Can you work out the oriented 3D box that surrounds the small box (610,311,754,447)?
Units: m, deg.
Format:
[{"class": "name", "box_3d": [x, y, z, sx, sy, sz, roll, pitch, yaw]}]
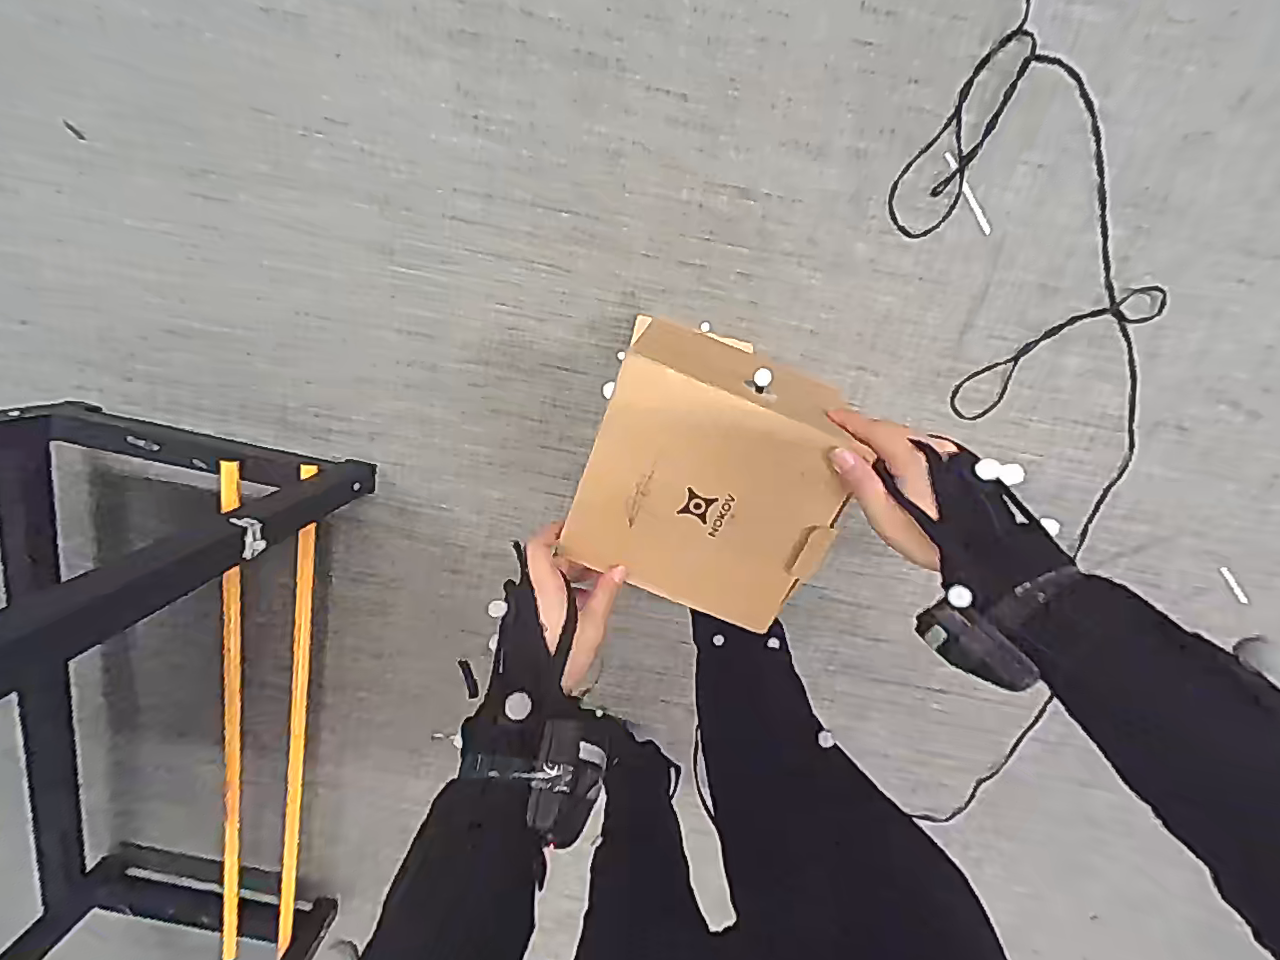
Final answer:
[{"class": "small box", "box_3d": [0.061, -0.167, 0.861, 0.179, 0.176, 0.168, 14, 107, -3]}]
